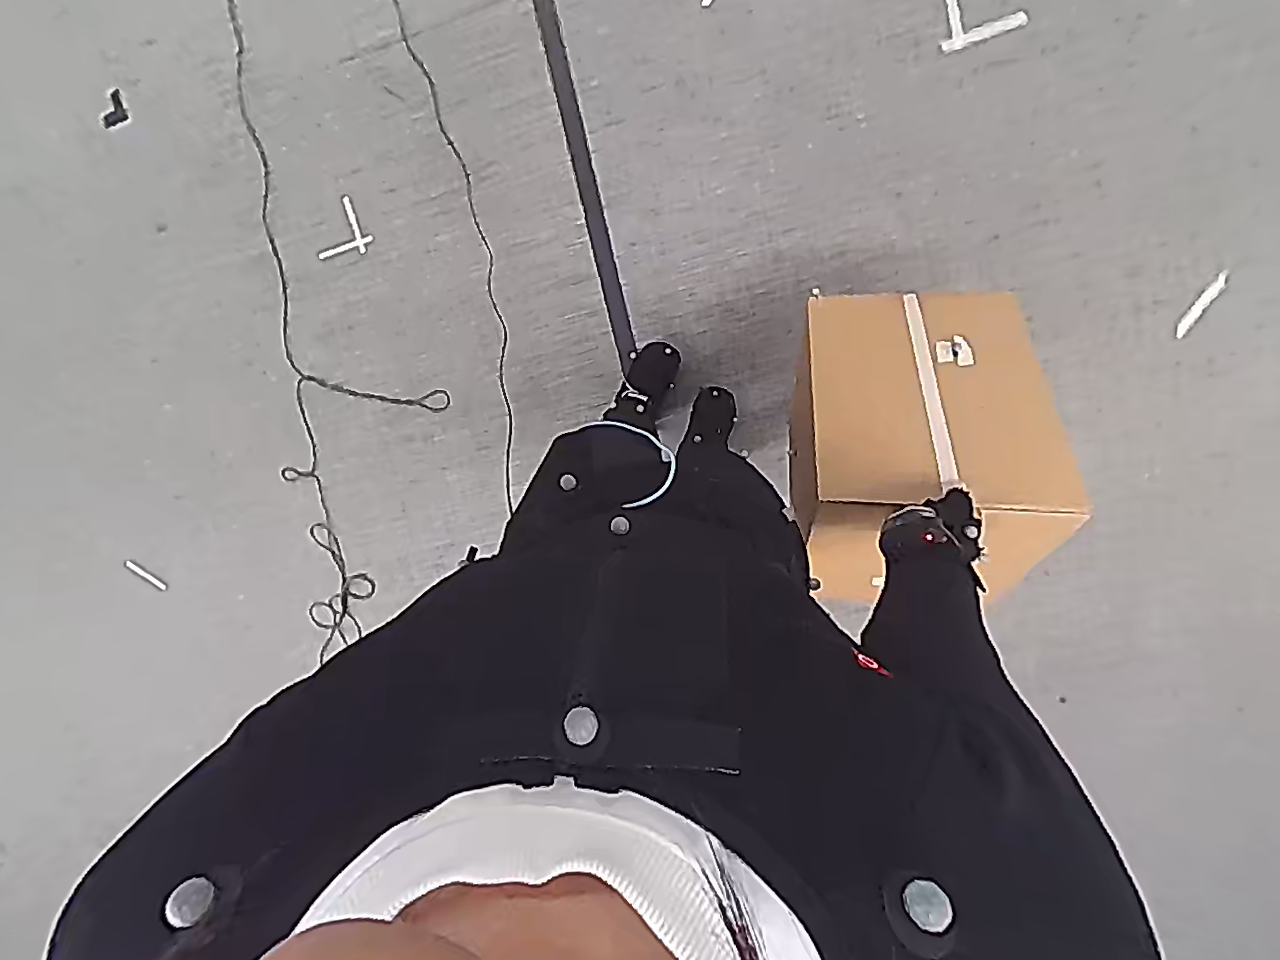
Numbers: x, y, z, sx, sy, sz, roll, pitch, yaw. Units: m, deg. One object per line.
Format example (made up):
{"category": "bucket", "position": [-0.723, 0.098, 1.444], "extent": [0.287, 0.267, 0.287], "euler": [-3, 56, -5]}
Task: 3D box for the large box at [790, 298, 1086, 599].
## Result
{"category": "large box", "position": [0.429, -0.047, 0.905], "extent": [0.320, 0.408, 0.320], "euler": [2, 145, 9]}
